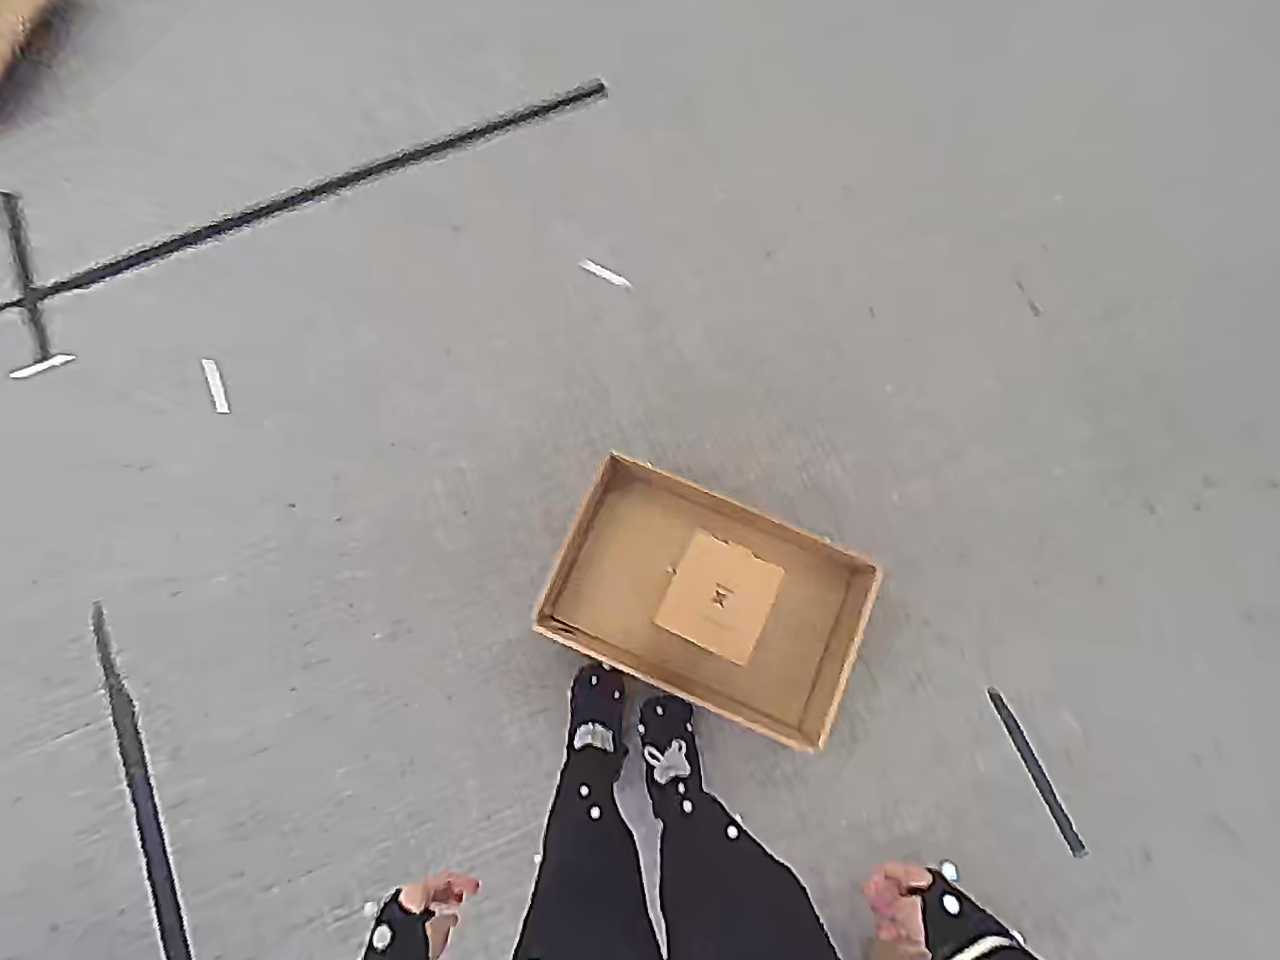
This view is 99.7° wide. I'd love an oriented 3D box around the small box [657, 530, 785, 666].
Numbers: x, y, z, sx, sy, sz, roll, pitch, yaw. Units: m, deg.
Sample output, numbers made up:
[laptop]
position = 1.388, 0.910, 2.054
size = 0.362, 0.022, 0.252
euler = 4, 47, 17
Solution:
[small box]
position = 0.136, 0.208, 0.977
size = 0.168, 0.176, 0.179
euler = 25, 81, 6
